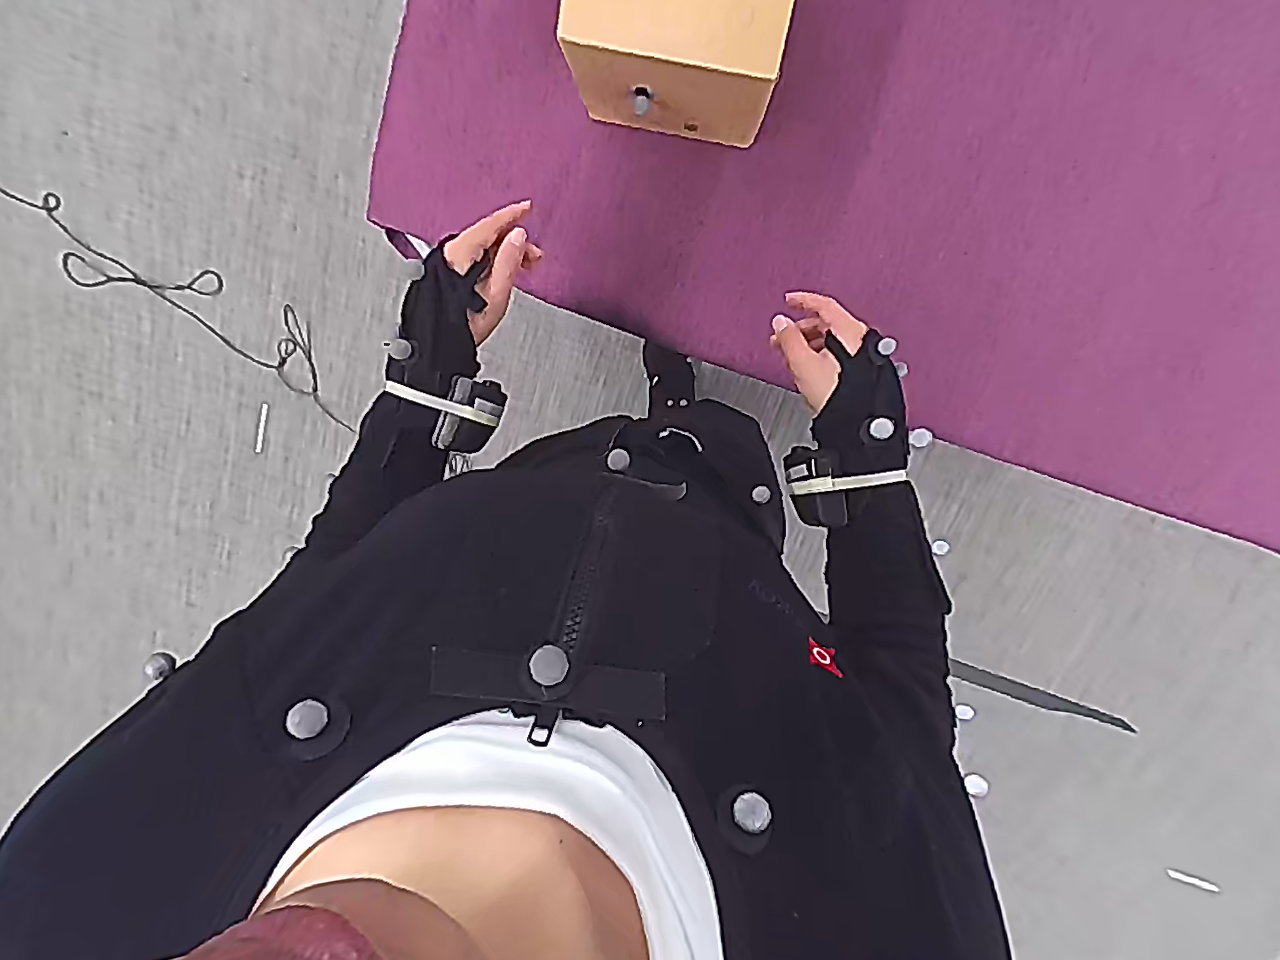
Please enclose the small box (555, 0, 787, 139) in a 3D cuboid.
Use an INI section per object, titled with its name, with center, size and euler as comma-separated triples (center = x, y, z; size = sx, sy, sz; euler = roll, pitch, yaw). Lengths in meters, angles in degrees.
[small box]
center = 0.039, -0.412, 0.446
size = 0.168, 0.176, 0.179
euler = 11, 105, 1
